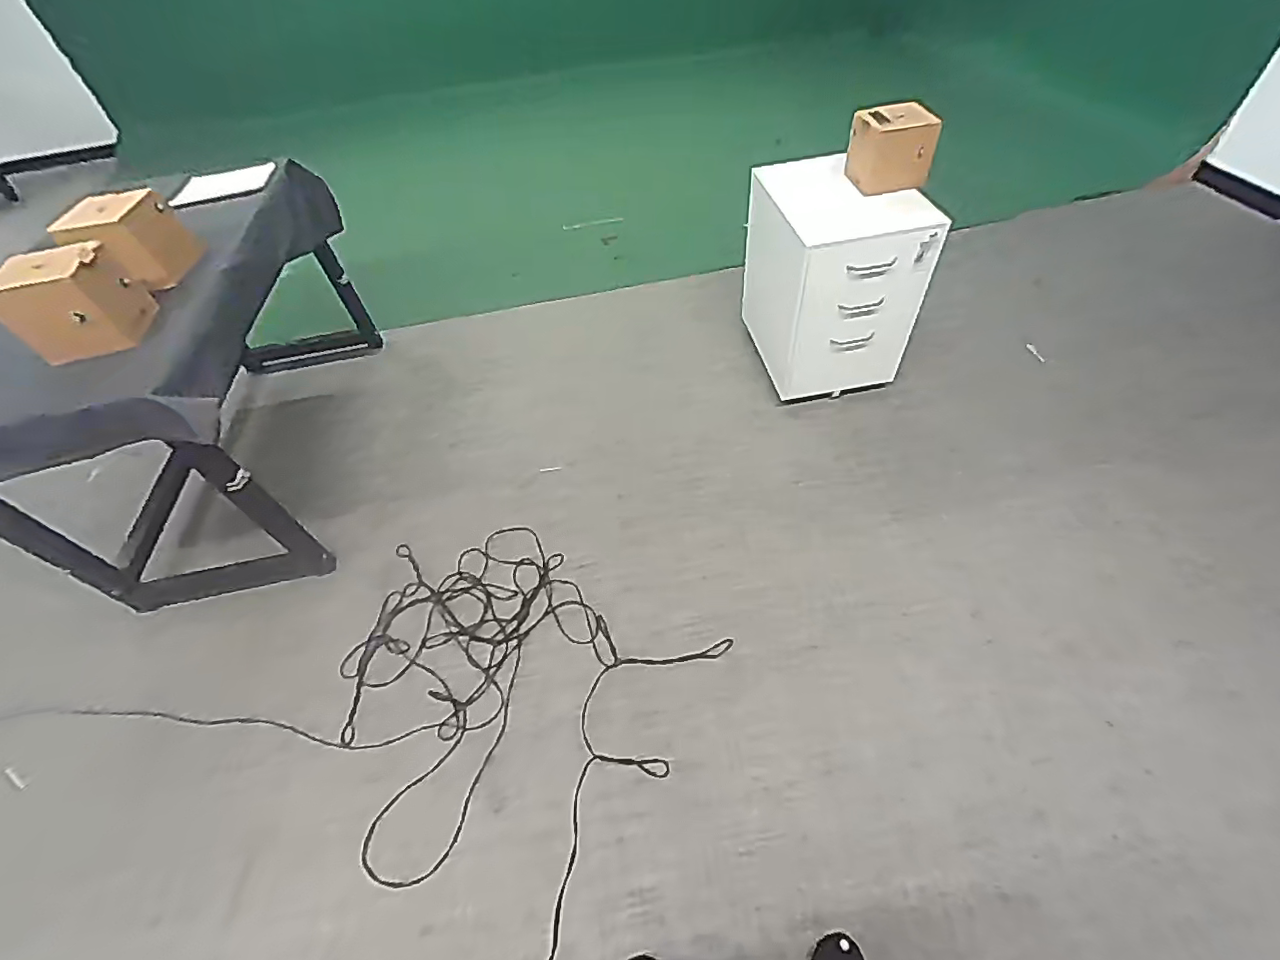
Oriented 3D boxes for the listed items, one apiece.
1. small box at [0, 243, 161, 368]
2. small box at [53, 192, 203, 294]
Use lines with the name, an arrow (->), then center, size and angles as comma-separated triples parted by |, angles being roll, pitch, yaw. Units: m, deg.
small box -> -1.175, -0.365, 1.138 | 0.179, 0.176, 0.168 | -16, 50, -5
small box -> -1.213, -0.561, 1.303 | 0.168, 0.176, 0.179 | -9, 50, 1
